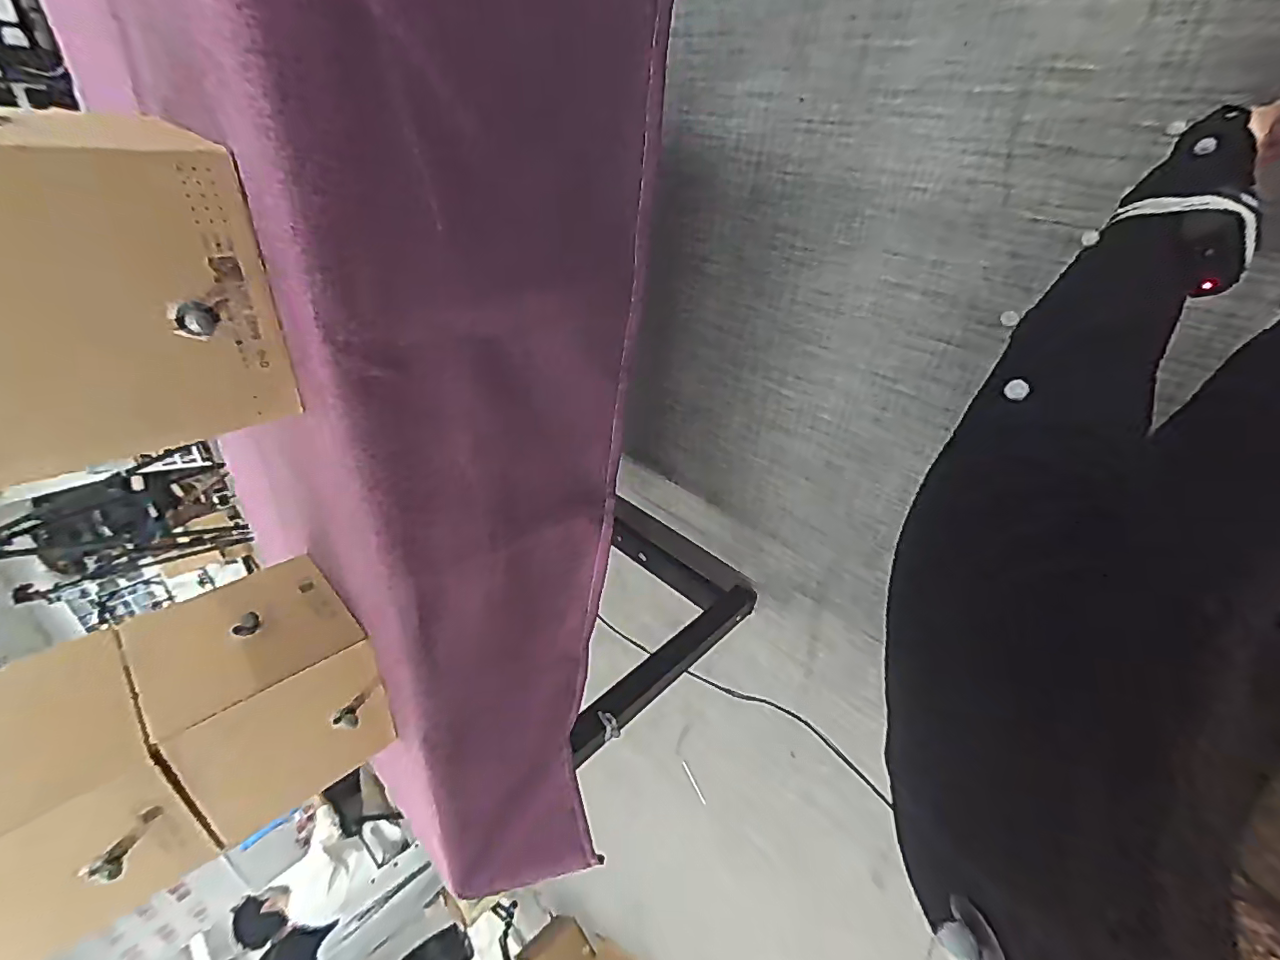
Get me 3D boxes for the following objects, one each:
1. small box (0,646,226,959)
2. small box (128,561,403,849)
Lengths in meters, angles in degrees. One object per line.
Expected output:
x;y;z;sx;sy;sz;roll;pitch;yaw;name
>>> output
-0.487;0.270;0.454;0.179;0.176;0.168;31;131;33;small box
-0.370;0.214;0.557;0.168;0.176;0.179;30;130;34;small box
